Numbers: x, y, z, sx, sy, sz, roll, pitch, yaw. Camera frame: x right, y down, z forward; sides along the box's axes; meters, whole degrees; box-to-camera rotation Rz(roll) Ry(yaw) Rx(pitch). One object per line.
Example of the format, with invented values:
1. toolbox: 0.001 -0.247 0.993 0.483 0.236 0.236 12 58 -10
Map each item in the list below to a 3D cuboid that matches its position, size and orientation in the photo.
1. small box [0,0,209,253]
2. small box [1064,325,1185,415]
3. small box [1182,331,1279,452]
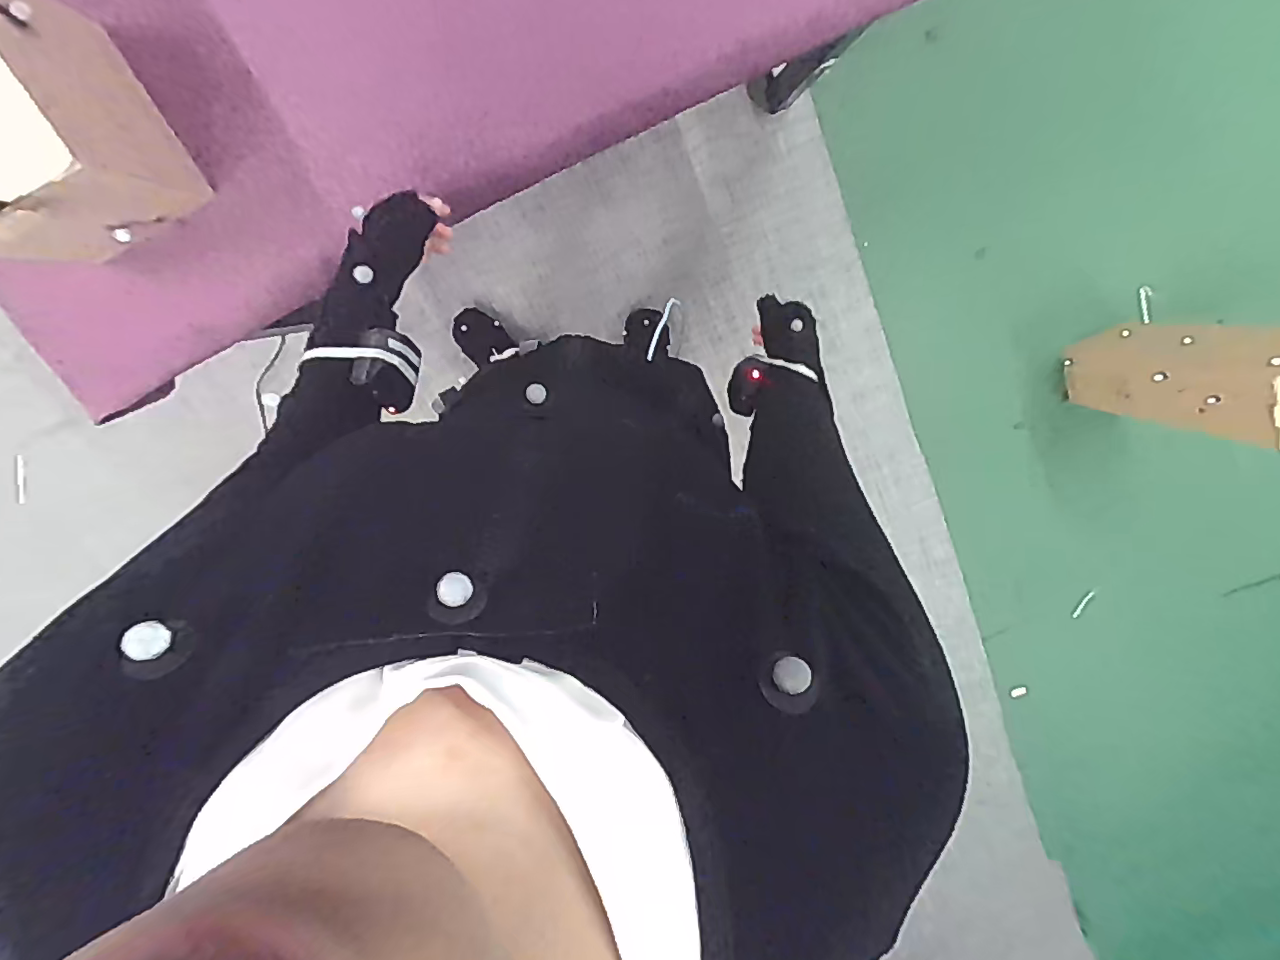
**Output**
1. small box: -0.579 -0.336 0.509 0.168 0.176 0.179 -25 109 5
2. small box: 1.242 -0.289 1.400 0.179 0.176 0.168 -24 109 5
3. small box: 1.266 -0.186 1.089 0.179 0.176 0.168 -27 109 6
